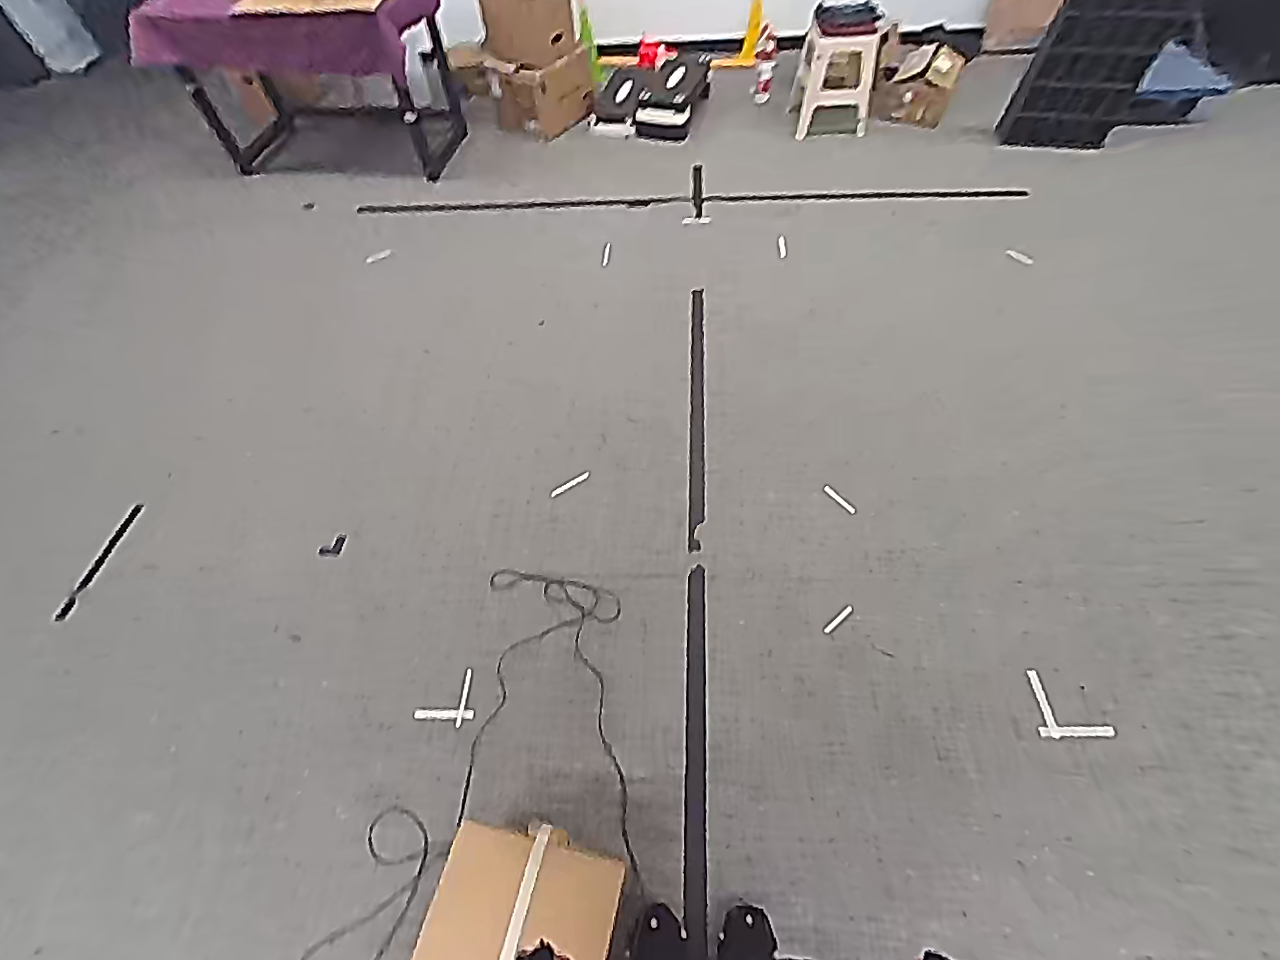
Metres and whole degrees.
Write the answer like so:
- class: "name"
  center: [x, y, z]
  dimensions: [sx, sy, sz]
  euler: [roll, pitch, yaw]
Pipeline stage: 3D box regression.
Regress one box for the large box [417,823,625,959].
- class: "large box"
  center: [-0.221, 0.905, 1.008]
  dimensions: [0.320, 0.320, 0.408]
  euler: [10, 58, 9]
